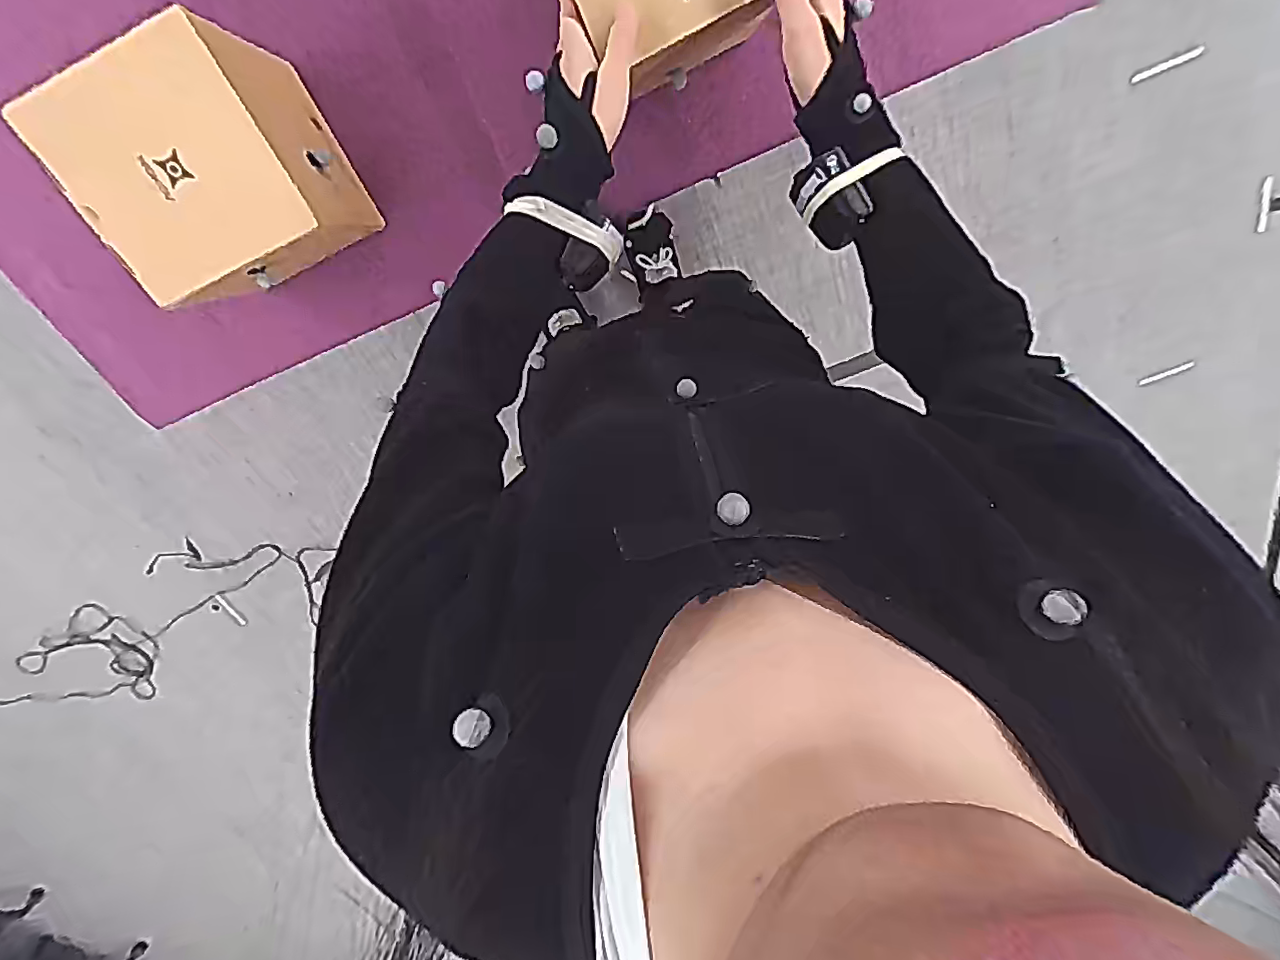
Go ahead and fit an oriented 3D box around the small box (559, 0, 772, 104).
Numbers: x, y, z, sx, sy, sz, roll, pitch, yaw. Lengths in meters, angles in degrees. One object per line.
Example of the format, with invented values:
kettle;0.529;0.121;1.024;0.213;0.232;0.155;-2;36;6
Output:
small box;0.004;-0.462;0.461;0.168;0.176;0.179;-23;116;8

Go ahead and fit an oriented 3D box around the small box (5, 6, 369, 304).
small box;-0.393;-0.293;0.517;0.179;0.176;0.168;-23;116;8
